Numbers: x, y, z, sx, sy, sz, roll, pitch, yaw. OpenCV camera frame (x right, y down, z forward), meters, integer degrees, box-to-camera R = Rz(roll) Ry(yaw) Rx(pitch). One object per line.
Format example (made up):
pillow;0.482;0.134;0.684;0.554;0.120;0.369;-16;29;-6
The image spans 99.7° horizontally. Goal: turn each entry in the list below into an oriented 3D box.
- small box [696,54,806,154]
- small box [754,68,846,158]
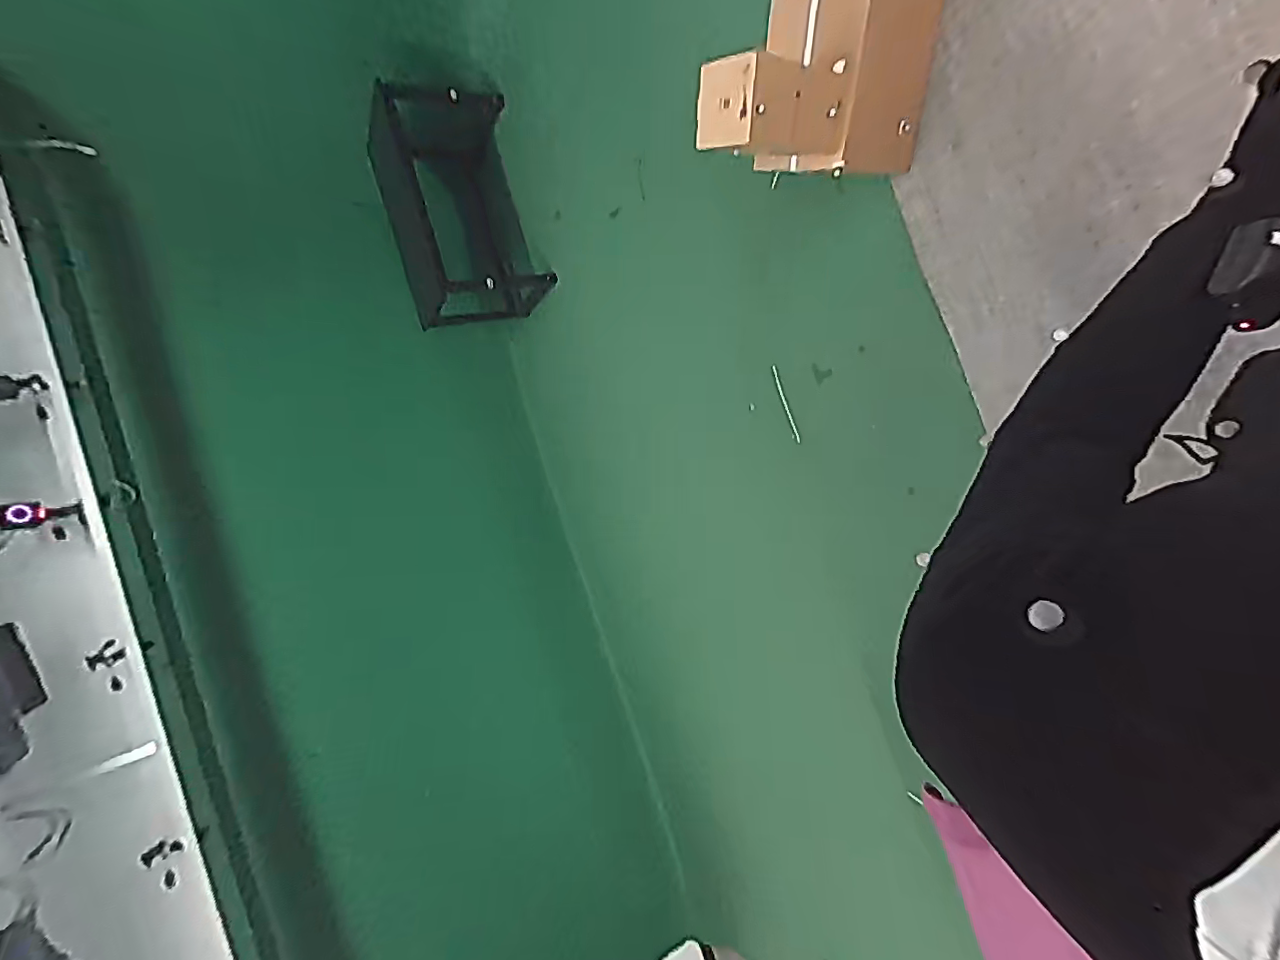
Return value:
small box;0.254;-0.862;1.257;0.179;0.176;0.168;32;130;46
small box;0.379;-0.908;1.352;0.179;0.176;0.168;32;130;45
